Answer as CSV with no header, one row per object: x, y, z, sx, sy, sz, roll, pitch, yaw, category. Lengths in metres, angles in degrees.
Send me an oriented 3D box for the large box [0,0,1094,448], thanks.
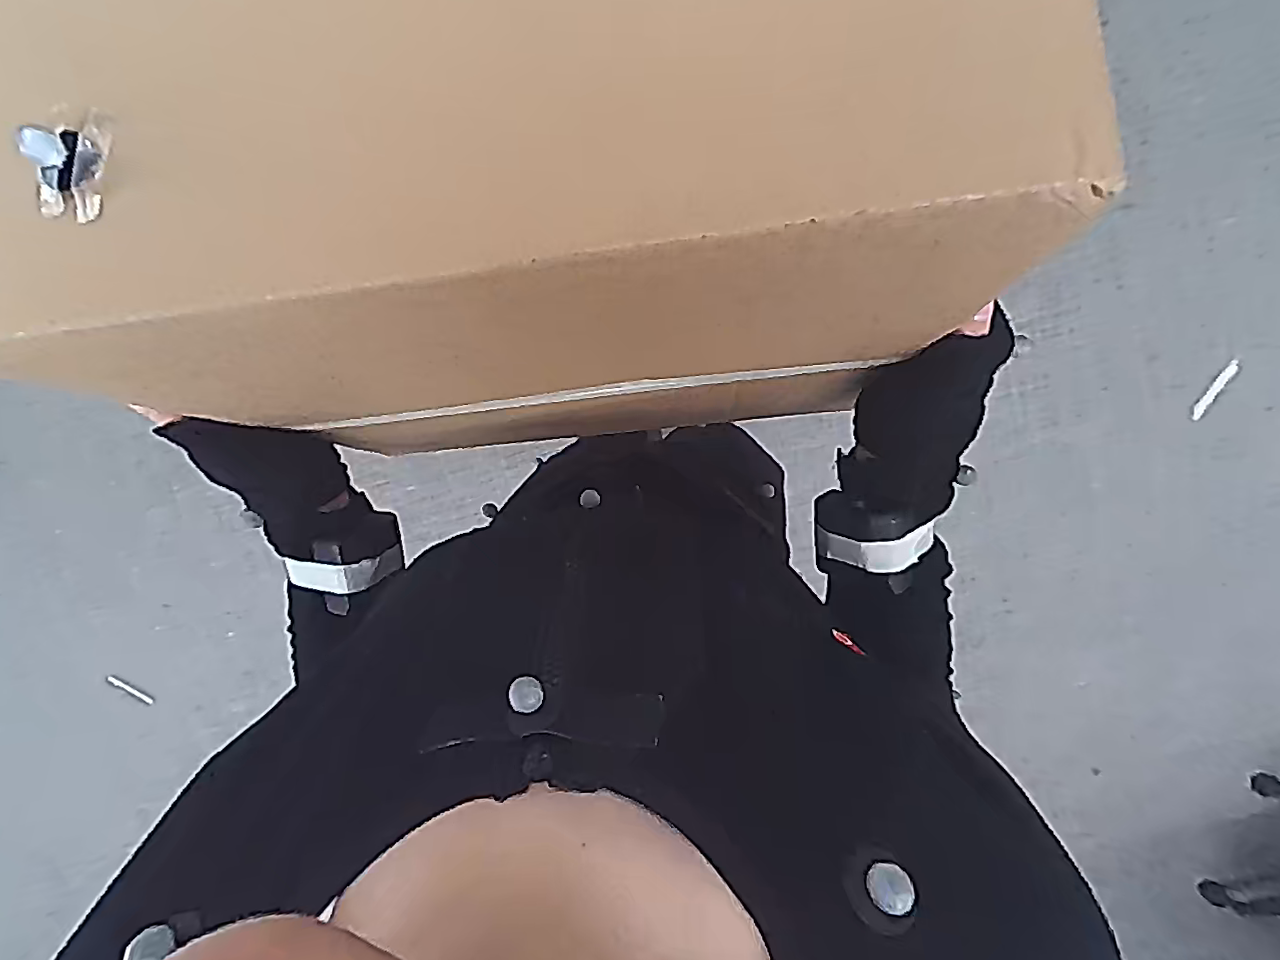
-0.058,-0.212,0.341,0.408,0.320,0.320,-6,86,7,large box
